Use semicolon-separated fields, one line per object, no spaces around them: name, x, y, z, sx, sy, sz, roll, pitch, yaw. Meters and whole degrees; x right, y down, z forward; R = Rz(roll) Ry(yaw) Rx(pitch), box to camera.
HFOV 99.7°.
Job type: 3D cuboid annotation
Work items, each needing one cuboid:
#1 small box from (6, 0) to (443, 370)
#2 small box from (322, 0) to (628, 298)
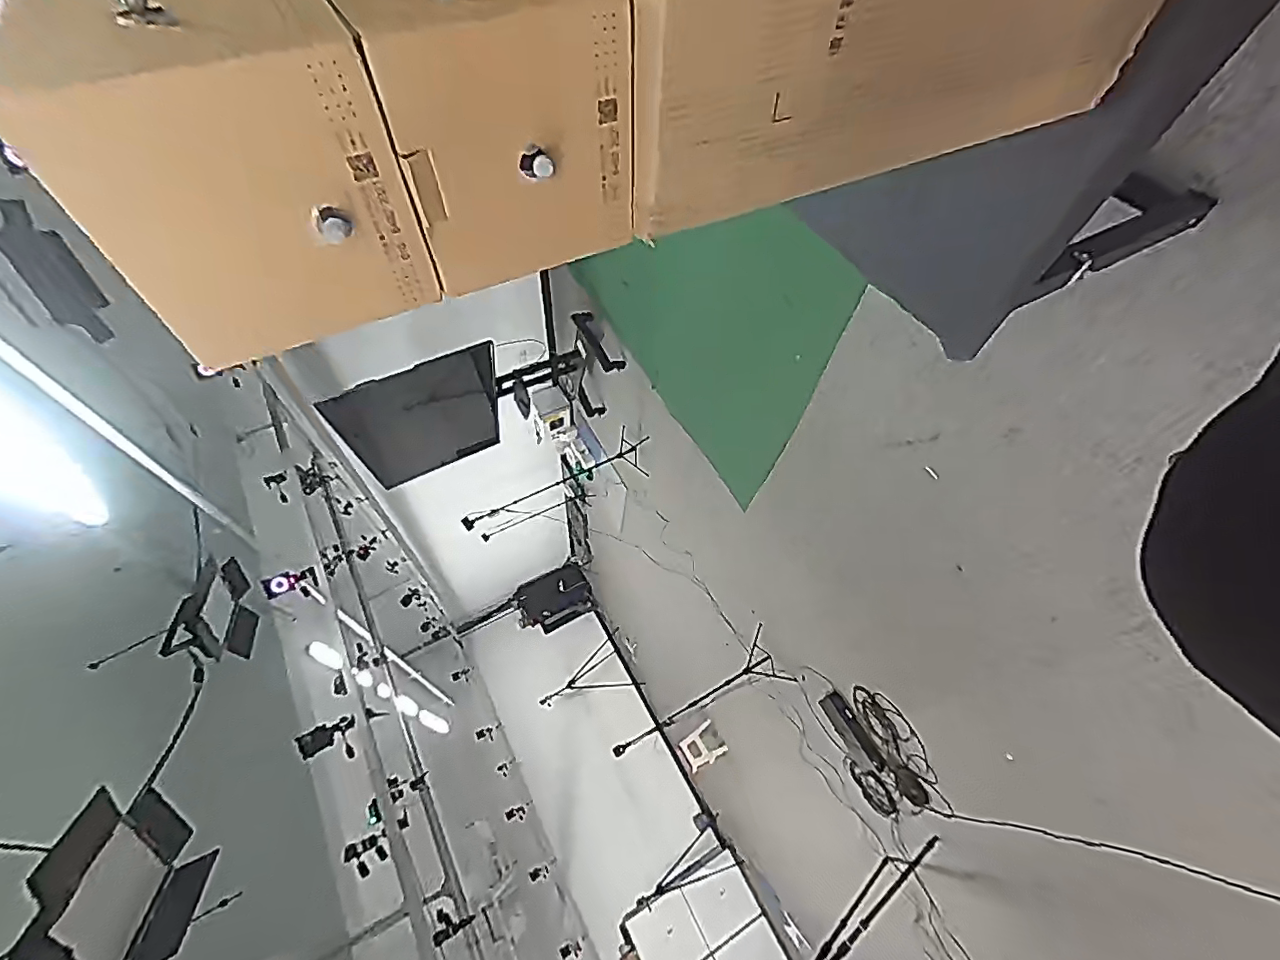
small box;-0.260;-0.214;0.377;0.179;0.176;0.168;54;161;29
small box;-0.118;-0.282;0.424;0.179;0.176;0.168;54;160;30
